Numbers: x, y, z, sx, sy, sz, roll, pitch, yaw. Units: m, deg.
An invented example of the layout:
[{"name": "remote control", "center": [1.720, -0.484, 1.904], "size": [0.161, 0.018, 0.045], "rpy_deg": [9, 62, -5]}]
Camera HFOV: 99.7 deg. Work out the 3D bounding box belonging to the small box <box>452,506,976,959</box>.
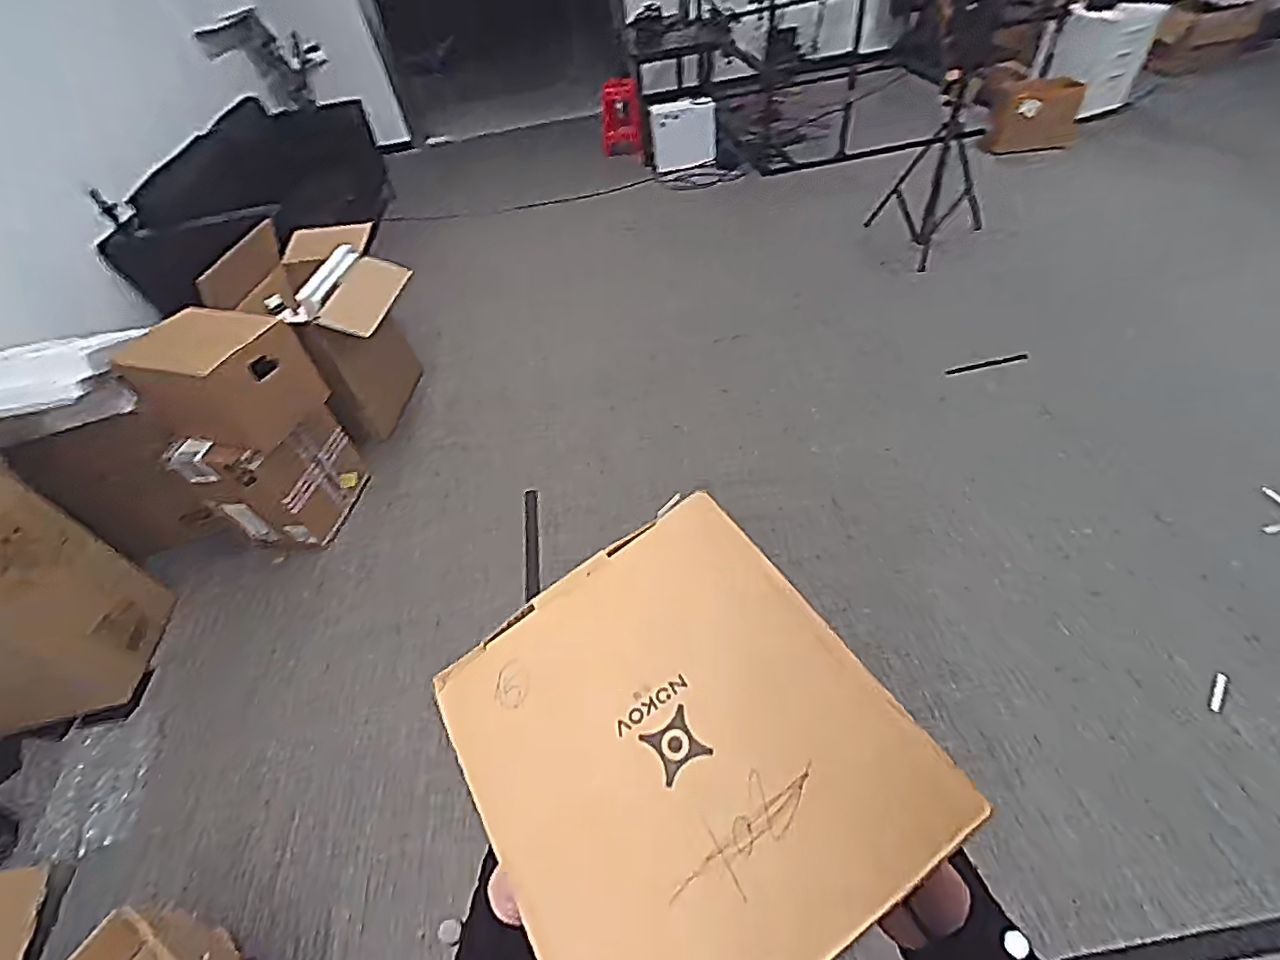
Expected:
[{"name": "small box", "center": [0.032, 0.153, 0.304], "size": [0.168, 0.176, 0.179], "rpy_deg": [-34, 58, -8]}]
